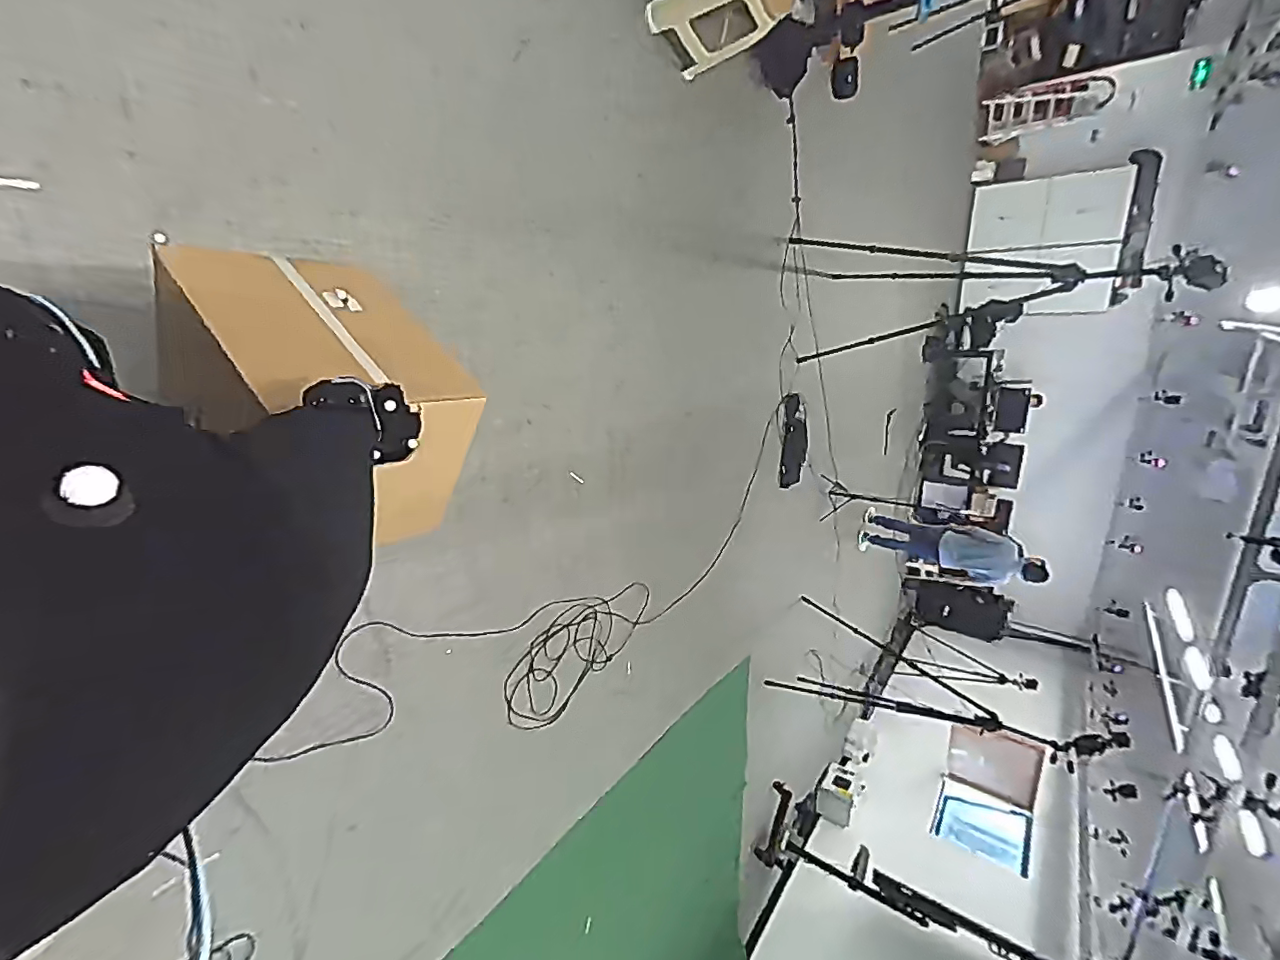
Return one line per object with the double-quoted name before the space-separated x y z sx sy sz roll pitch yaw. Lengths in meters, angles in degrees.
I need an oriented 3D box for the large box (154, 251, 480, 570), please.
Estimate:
"large box" -0.544 -0.125 0.909 0.320 0.408 0.320 -17 145 -52
